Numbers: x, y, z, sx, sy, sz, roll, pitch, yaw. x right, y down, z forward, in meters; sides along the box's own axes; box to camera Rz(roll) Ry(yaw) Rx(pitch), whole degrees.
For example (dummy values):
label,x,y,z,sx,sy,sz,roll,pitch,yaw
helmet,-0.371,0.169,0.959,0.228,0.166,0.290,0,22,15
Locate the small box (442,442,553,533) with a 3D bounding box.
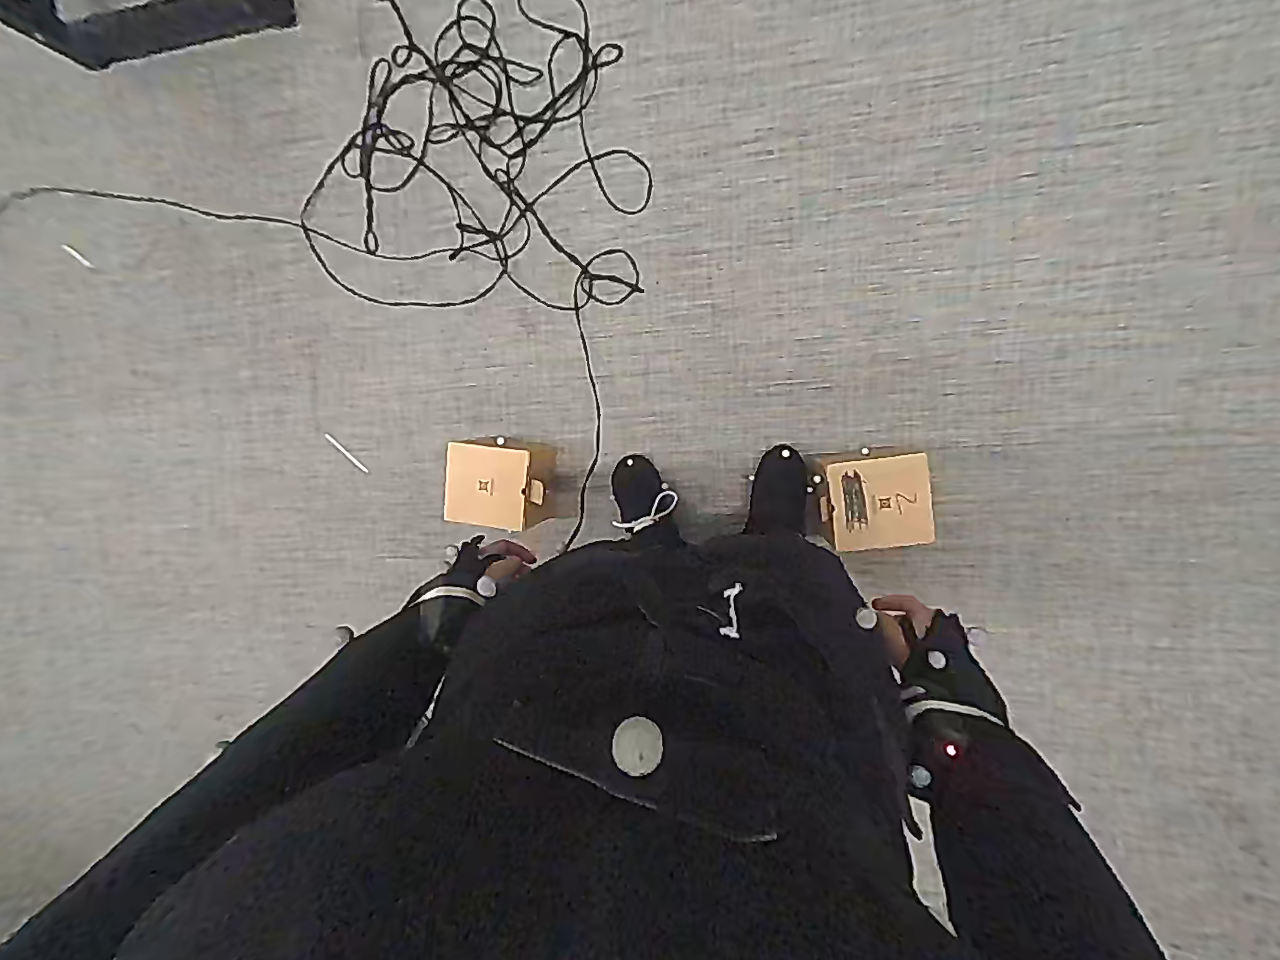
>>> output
label,x,y,z,sx,sy,sz,roll,pitch,yaw
small box,-0.301,0.009,1.164,0.179,0.176,0.168,7,97,8
